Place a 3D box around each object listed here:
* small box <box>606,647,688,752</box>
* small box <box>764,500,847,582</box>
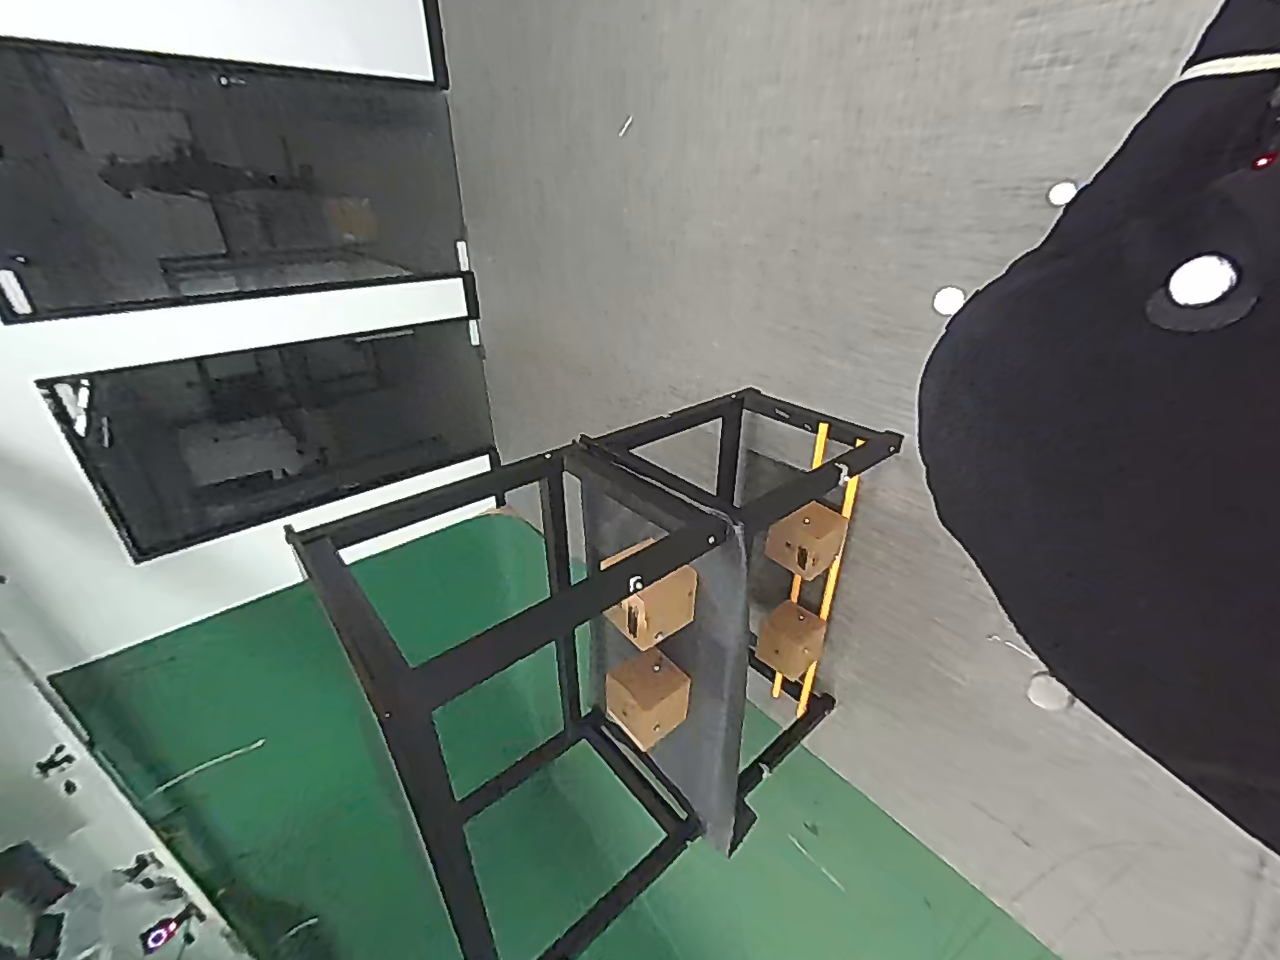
[{"bbox_3d":[0.019,0.611,1.519,0.168,0.176,0.179,32,132,40],"label":"small box"},{"bbox_3d":[0.524,0.183,1.705,0.179,0.176,0.168,33,132,39],"label":"small box"}]
